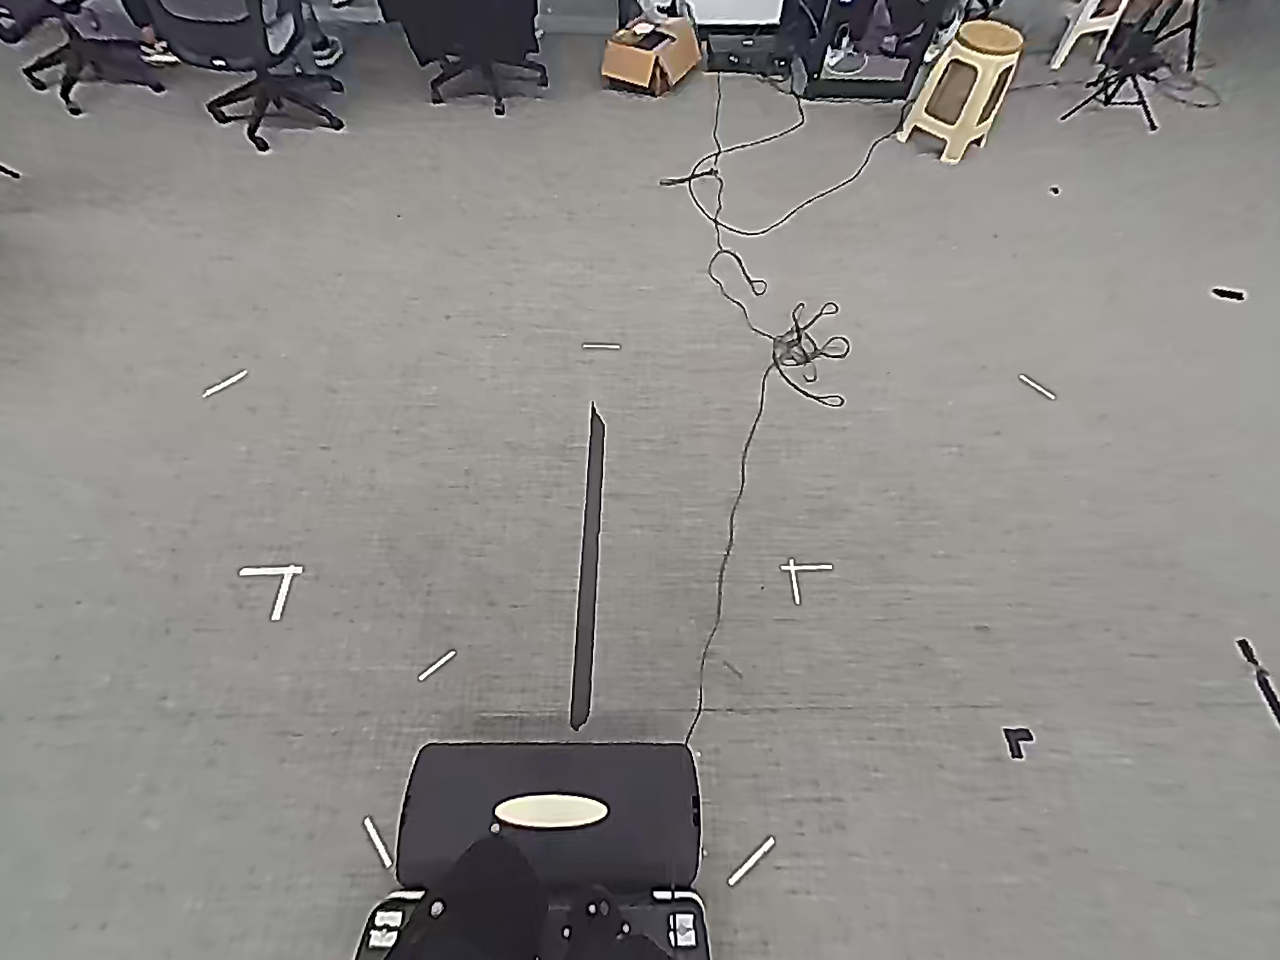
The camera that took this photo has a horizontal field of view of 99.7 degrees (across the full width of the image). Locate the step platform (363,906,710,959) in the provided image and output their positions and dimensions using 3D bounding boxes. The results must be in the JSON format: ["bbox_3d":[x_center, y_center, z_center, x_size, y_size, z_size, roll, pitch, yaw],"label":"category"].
[{"bbox_3d":[-0.197,1.021,1.020,0.684,0.204,0.286,4,58,2],"label":"step platform"}]
